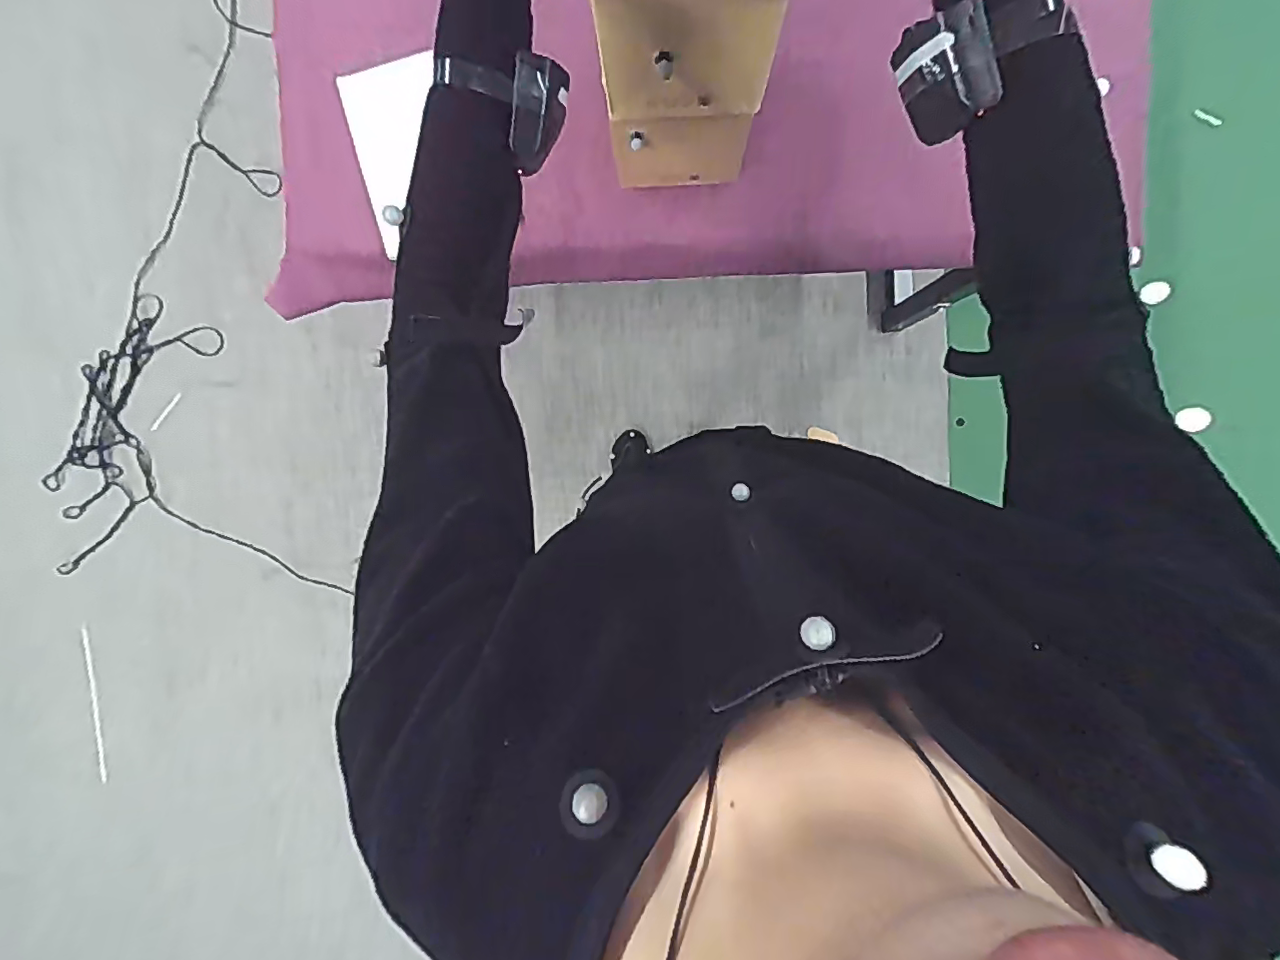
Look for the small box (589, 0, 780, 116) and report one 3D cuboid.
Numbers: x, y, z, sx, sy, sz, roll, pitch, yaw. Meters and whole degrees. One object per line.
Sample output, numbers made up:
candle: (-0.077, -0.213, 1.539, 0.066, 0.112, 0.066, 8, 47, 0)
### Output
small box: (0.043, -0.483, 0.521, 0.168, 0.176, 0.179, -1, 92, 3)
